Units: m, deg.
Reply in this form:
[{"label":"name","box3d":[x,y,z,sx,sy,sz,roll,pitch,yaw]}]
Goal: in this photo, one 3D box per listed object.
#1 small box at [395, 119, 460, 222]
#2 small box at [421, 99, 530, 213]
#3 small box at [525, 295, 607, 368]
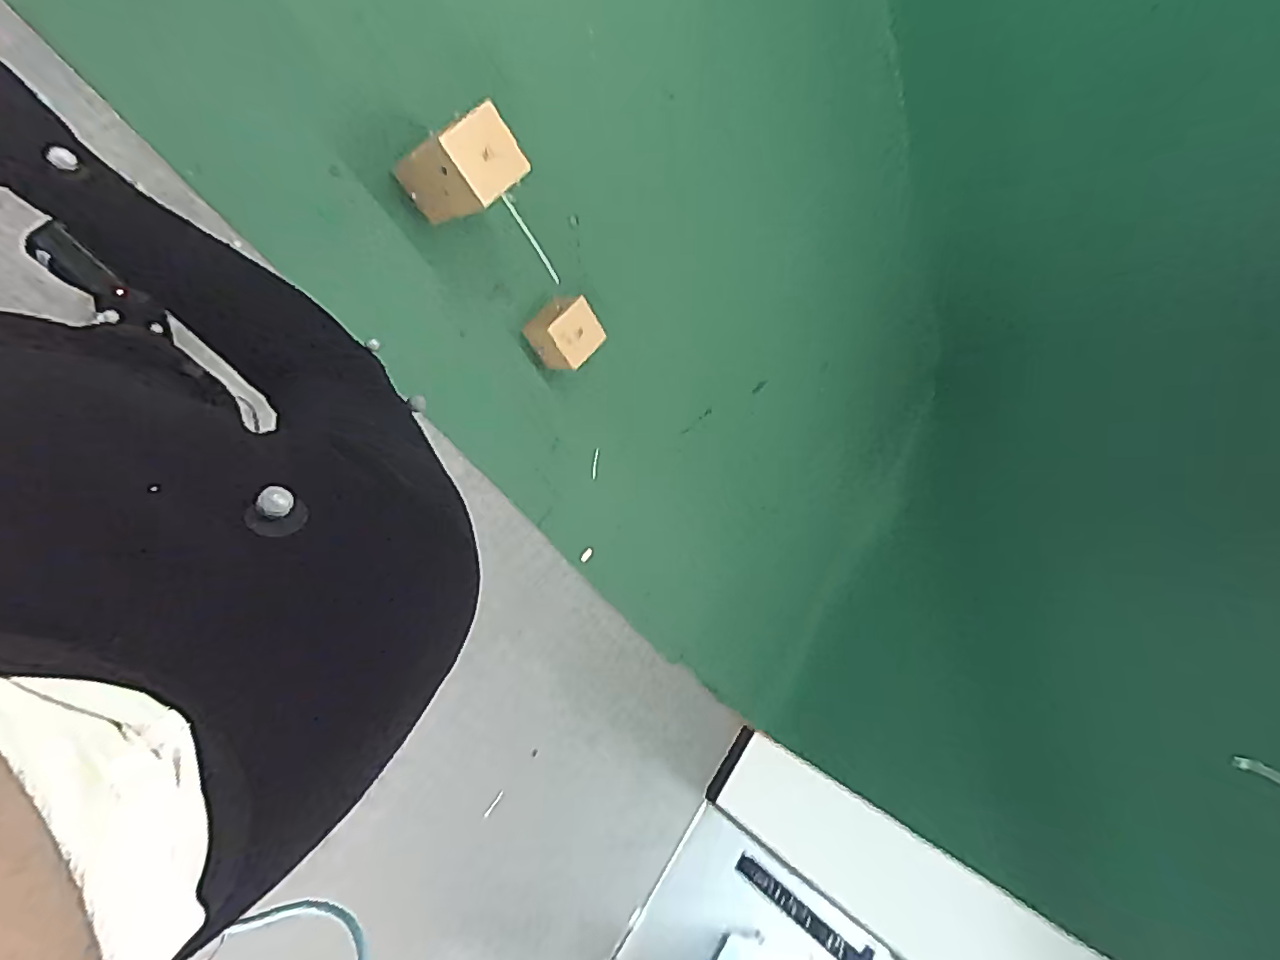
[{"label":"small box","box3d":[-0.522,-0.828,1.458,0.179,0.176,0.168,-51,129,-18]},{"label":"small box","box3d":[-0.415,-0.793,1.342,0.179,0.176,0.168,-53,130,-19]},{"label":"small box","box3d":[-0.249,-0.497,1.800,0.179,0.176,0.168,-50,130,-20]}]
